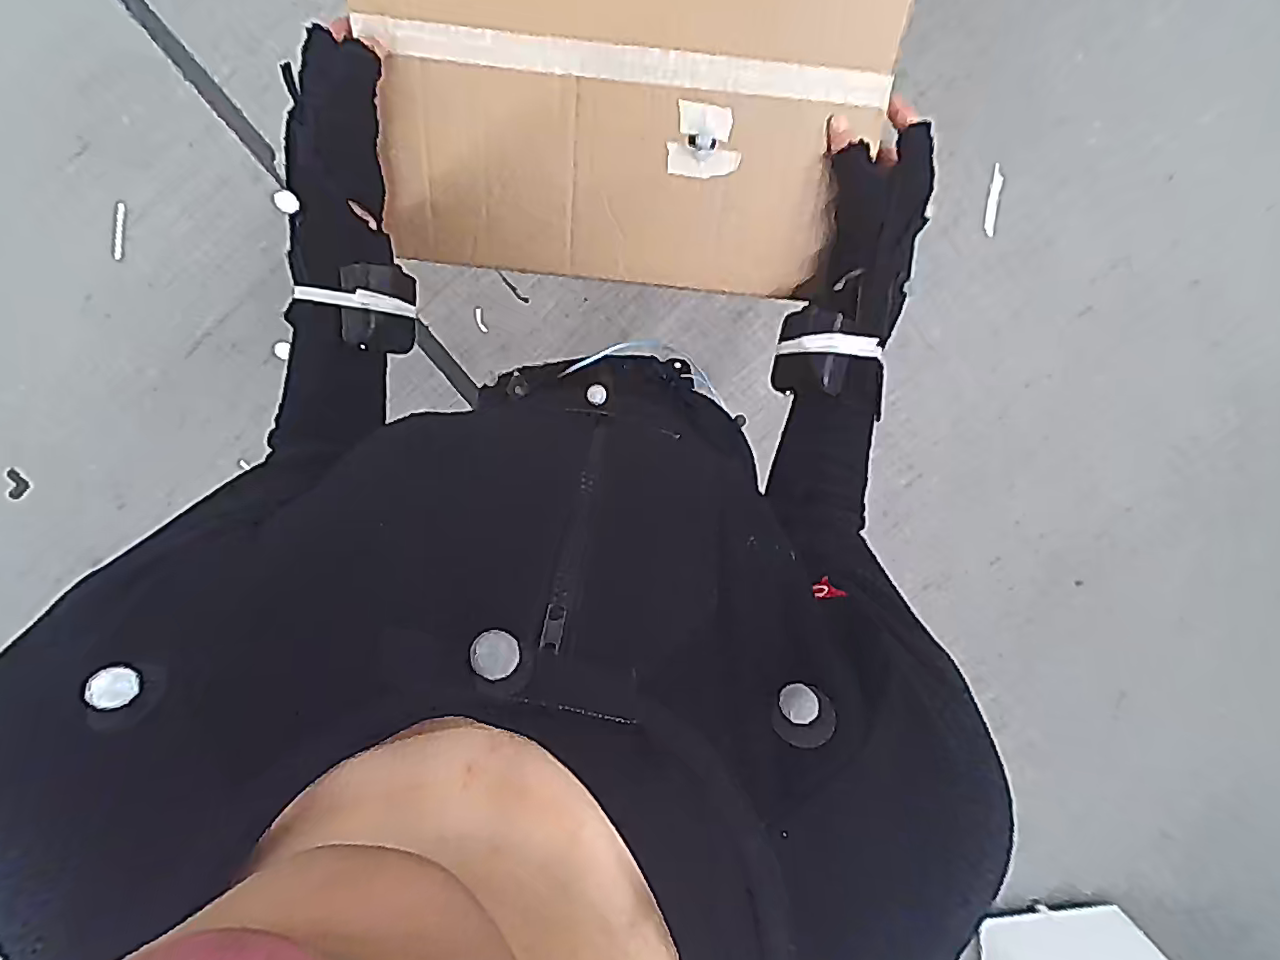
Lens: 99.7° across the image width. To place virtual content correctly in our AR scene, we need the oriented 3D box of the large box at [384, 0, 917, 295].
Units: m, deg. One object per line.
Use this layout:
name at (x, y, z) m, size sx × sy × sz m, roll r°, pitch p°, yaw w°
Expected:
large box at (0.002, -0.393, 0.553) m, size 0.408 × 0.320 × 0.320 m, roll 6°, pitch 120°, yaw -2°
